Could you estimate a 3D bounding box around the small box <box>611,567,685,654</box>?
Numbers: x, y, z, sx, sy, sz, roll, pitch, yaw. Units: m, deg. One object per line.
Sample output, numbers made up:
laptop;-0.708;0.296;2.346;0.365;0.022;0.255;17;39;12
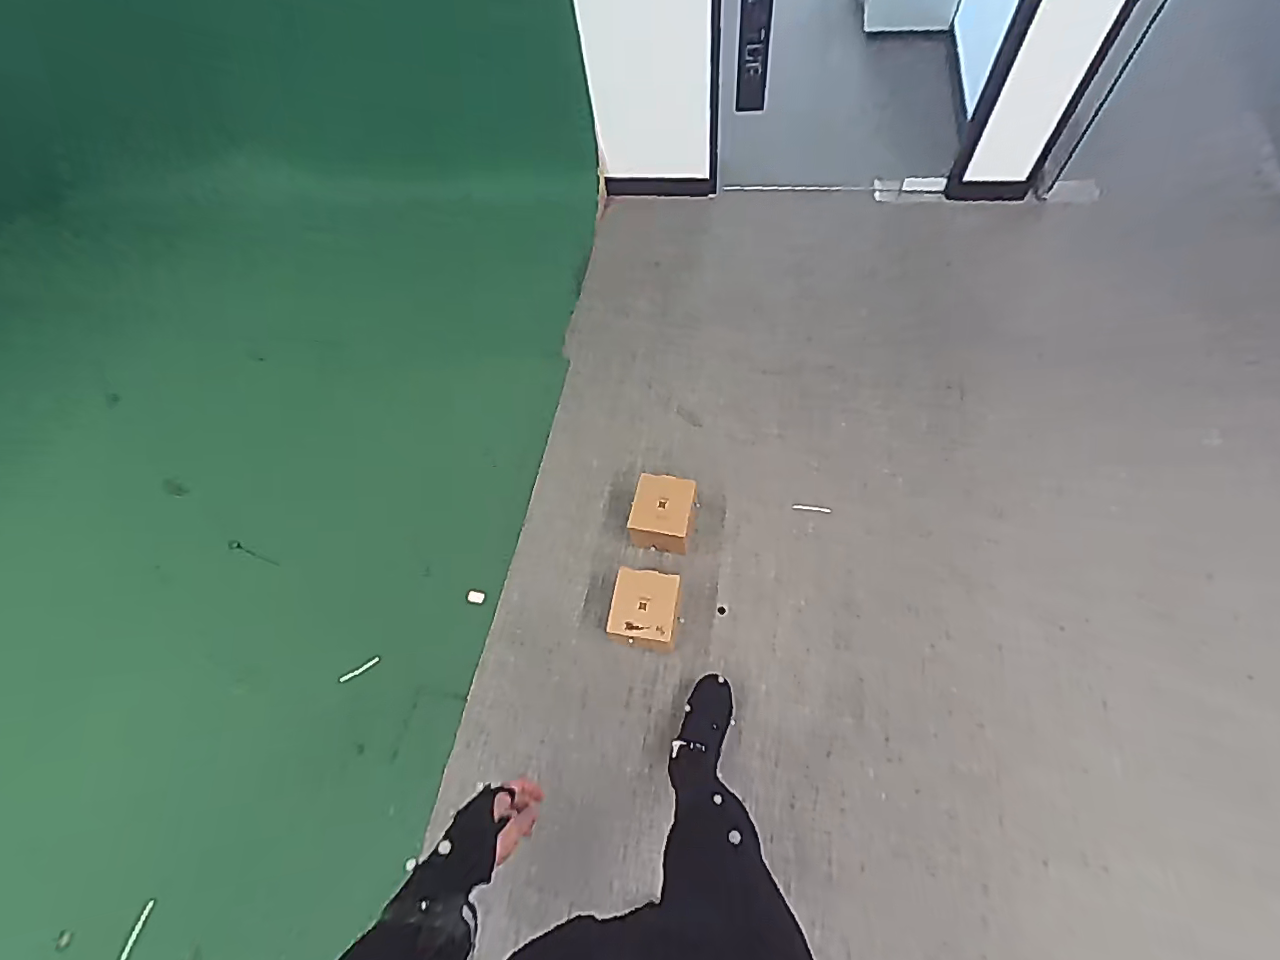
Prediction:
small box;0.028;0.355;1.456;0.168;0.176;0.179;7;63;11
